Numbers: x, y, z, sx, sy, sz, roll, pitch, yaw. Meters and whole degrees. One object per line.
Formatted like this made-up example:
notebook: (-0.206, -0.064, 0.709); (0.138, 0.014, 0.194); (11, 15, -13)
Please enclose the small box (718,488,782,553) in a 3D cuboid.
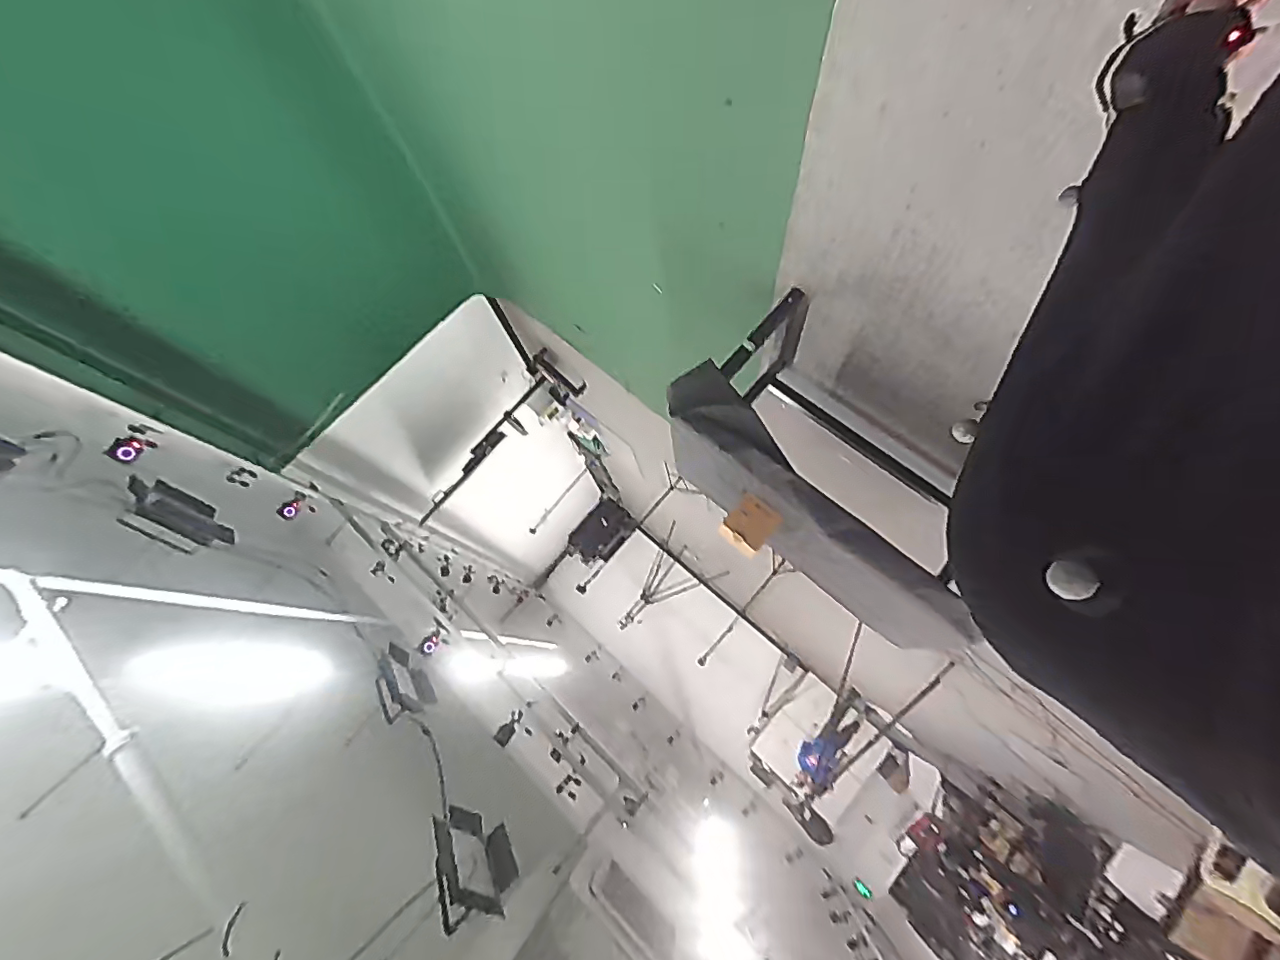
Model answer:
small box: (0.417, 0.152, 2.047); (0.168, 0.176, 0.179); (41, 172, 14)
